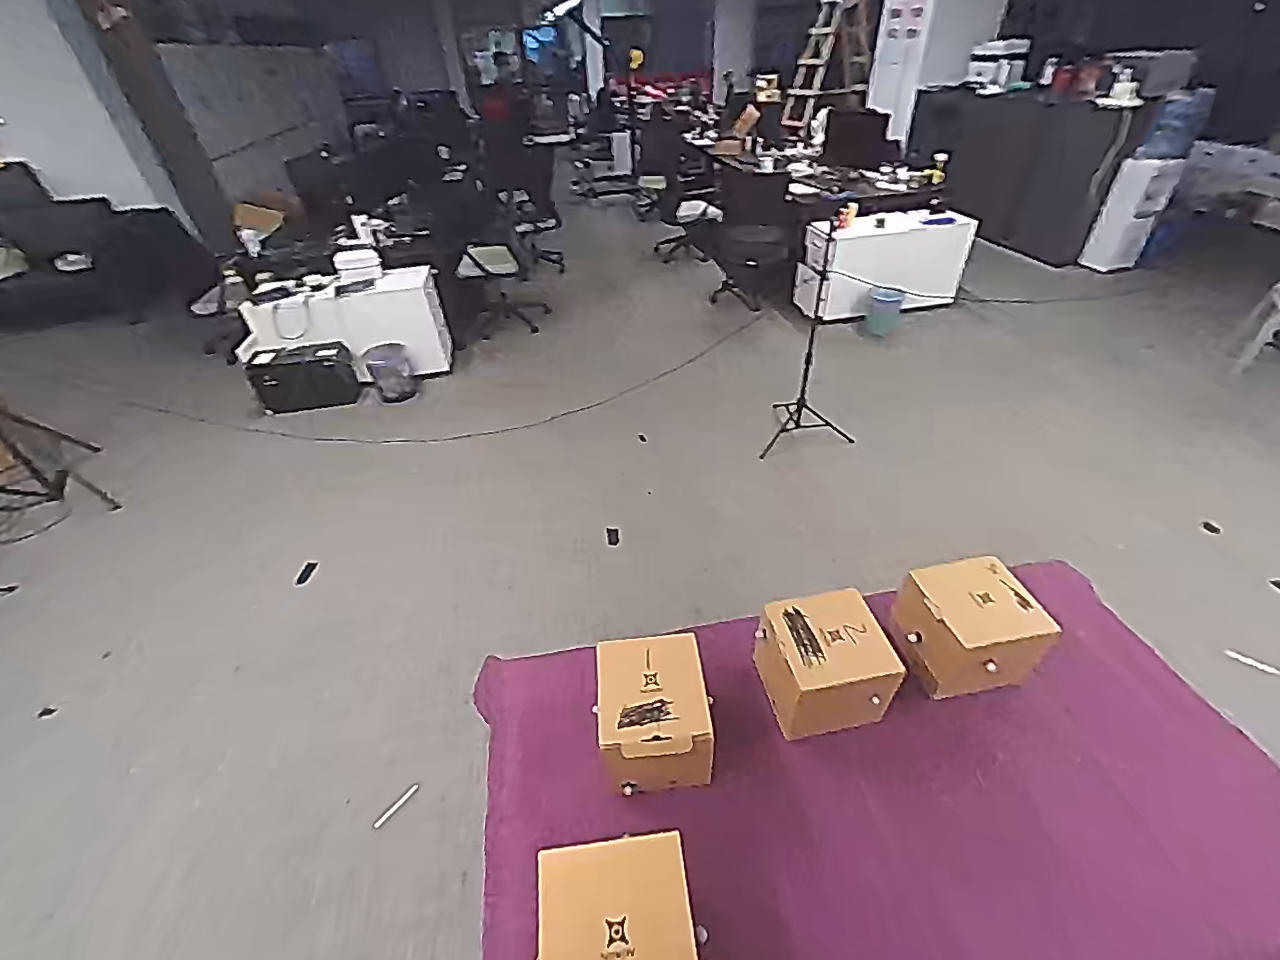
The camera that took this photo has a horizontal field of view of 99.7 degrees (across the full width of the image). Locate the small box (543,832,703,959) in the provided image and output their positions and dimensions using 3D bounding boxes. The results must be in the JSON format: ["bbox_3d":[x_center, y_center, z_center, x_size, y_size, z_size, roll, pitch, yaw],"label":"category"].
[{"bbox_3d":[-0.021,0.531,0.621,0.168,0.176,0.179,-5,49,-6],"label":"small box"}]

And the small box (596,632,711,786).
[{"bbox_3d":[0.020,0.374,0.875,0.168,0.176,0.179,-5,39,-2],"label":"small box"}]

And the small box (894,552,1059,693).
[{"bbox_3d":[0.580,0.257,0.967,0.179,0.176,0.168,-9,42,-5],"label":"small box"}]
